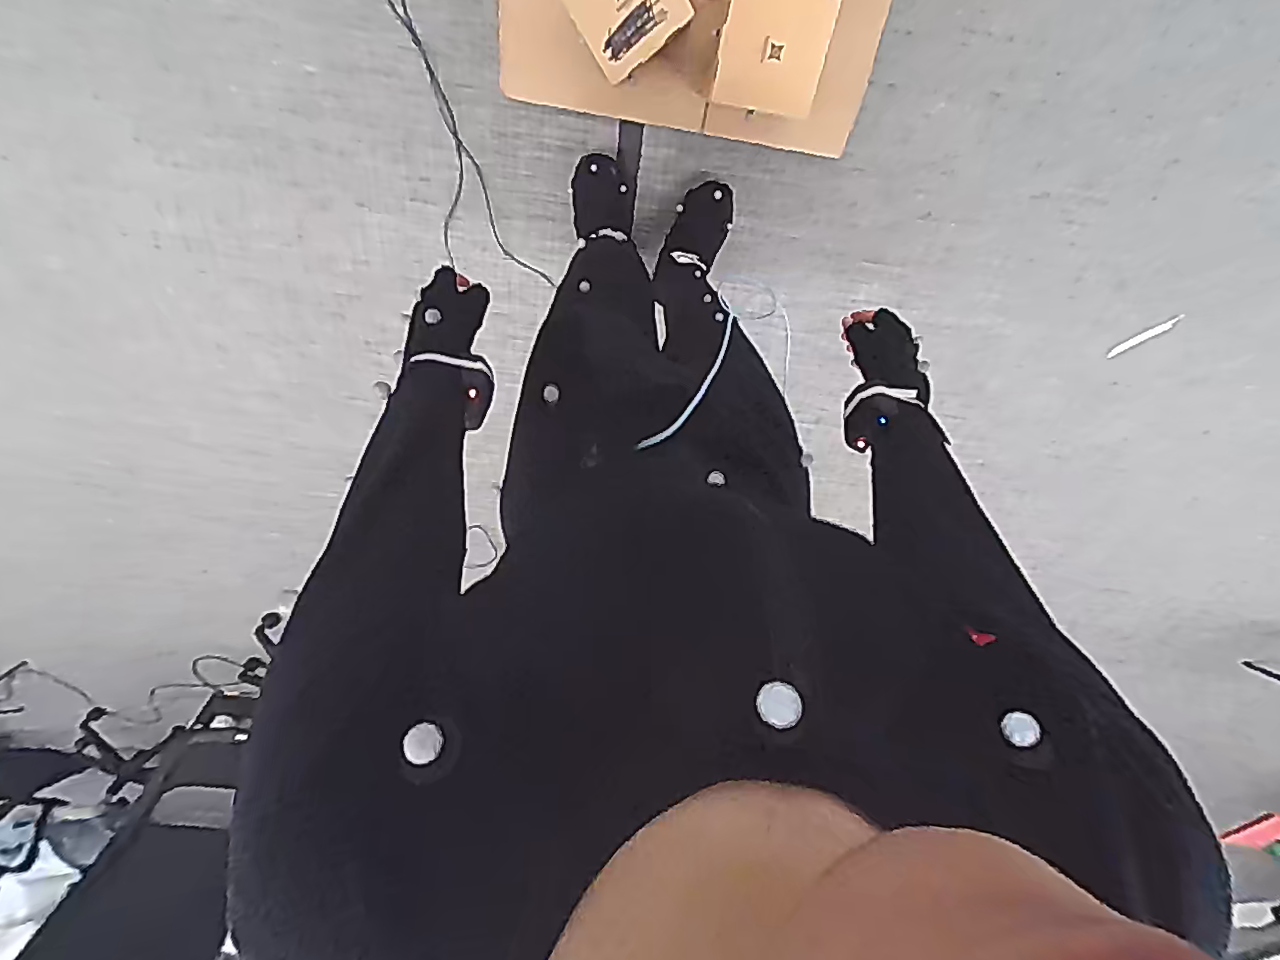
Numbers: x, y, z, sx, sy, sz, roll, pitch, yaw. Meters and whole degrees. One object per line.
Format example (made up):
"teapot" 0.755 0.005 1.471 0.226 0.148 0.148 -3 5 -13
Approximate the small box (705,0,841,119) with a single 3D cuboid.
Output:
"small box" 0.219 -0.754 0.946 0.179 0.176 0.168 9 128 -4
